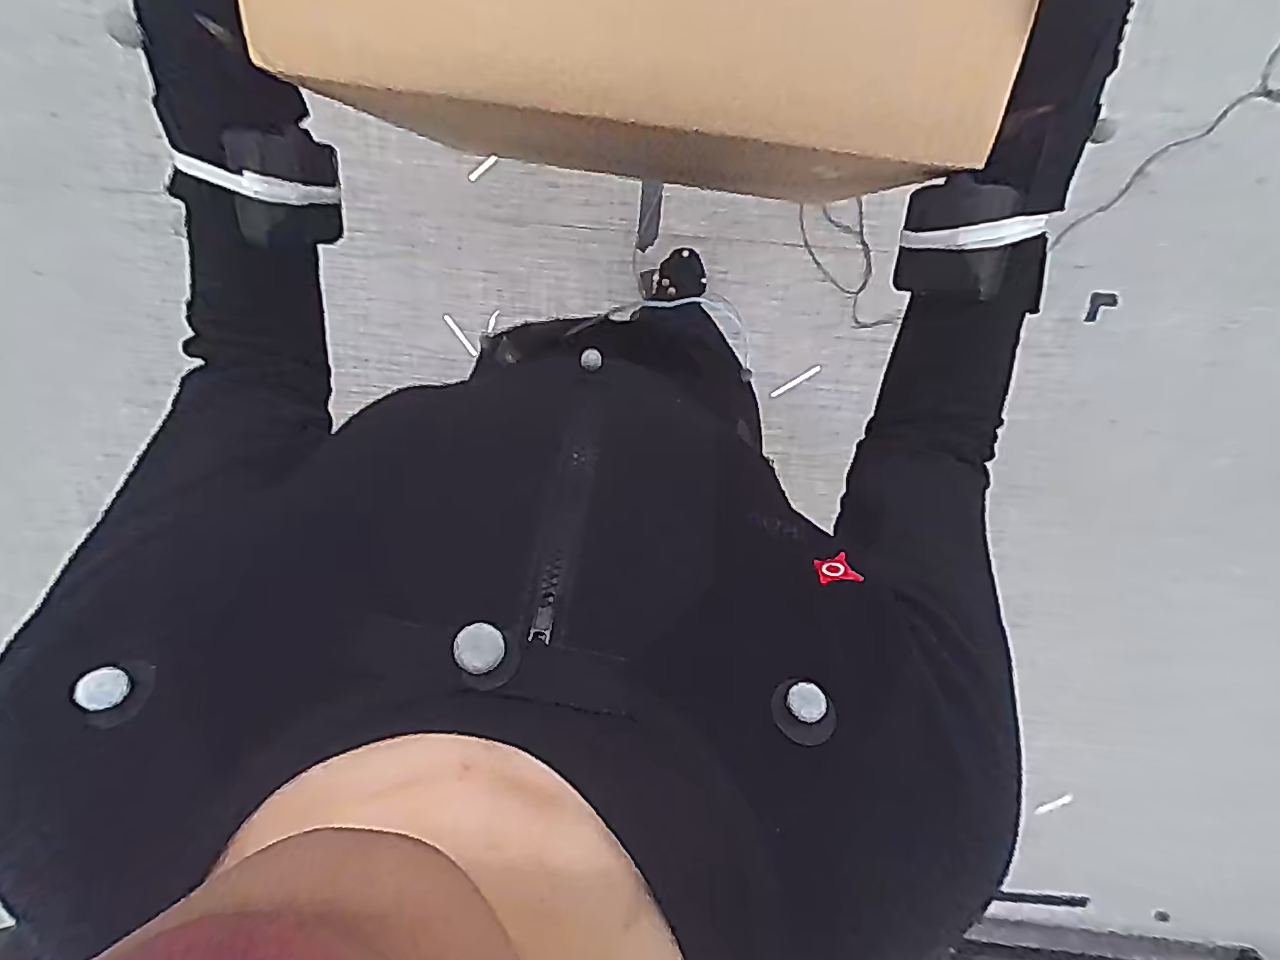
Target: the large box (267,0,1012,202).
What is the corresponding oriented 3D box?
[{"bbox_3d":[0.011,-0.401,0.386,0.408,0.320,0.320,7,115,-1],"label":"large box"}]
